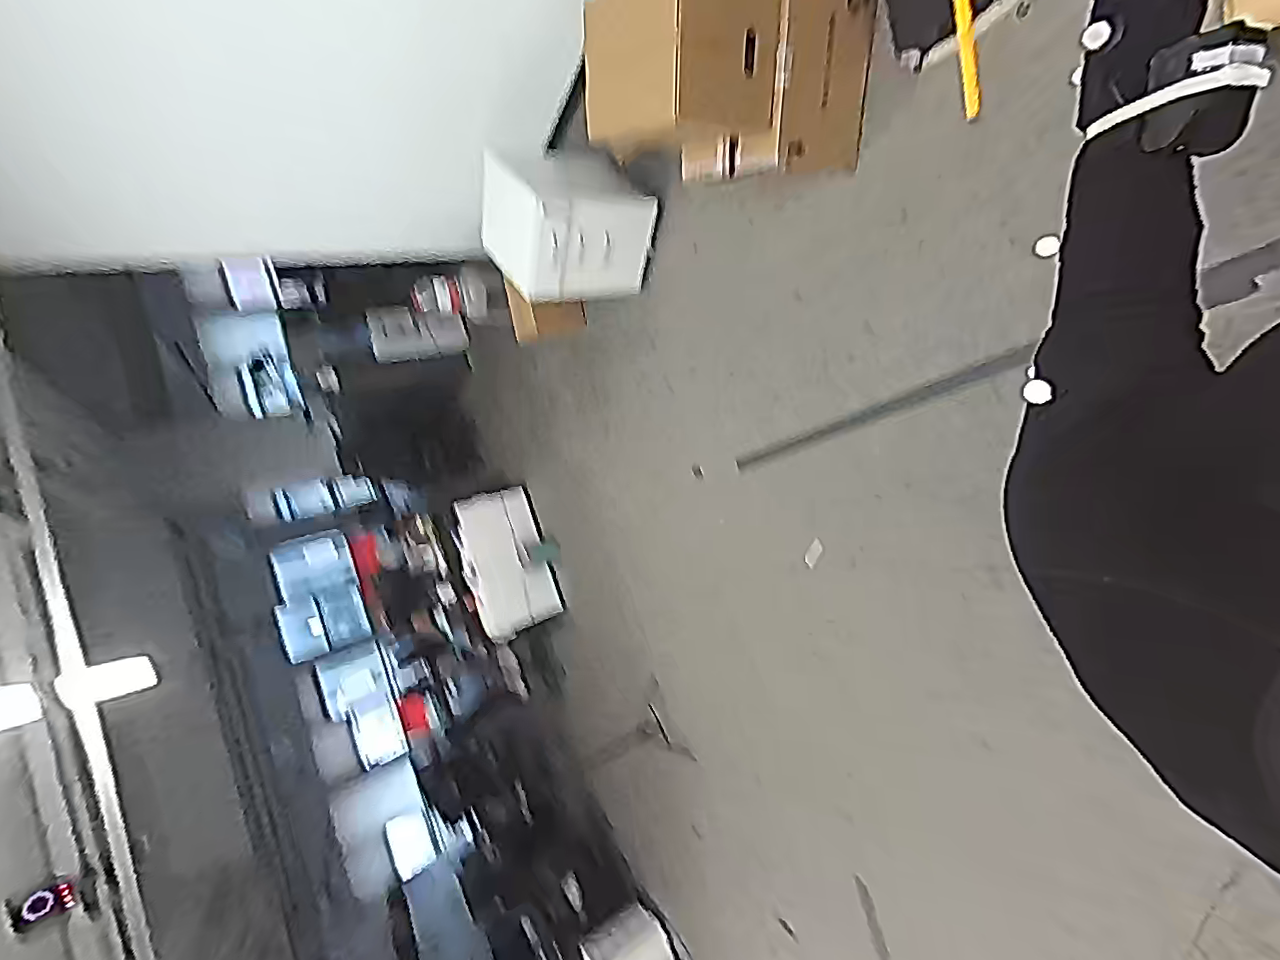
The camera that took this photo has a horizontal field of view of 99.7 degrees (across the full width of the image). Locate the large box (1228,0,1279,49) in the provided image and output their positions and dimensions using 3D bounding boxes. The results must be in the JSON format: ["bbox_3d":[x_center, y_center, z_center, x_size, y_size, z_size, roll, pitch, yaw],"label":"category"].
[{"bbox_3d":[0.585,-0.479,0.241,0.408,0.320,0.320,8,116,55],"label":"large box"}]
